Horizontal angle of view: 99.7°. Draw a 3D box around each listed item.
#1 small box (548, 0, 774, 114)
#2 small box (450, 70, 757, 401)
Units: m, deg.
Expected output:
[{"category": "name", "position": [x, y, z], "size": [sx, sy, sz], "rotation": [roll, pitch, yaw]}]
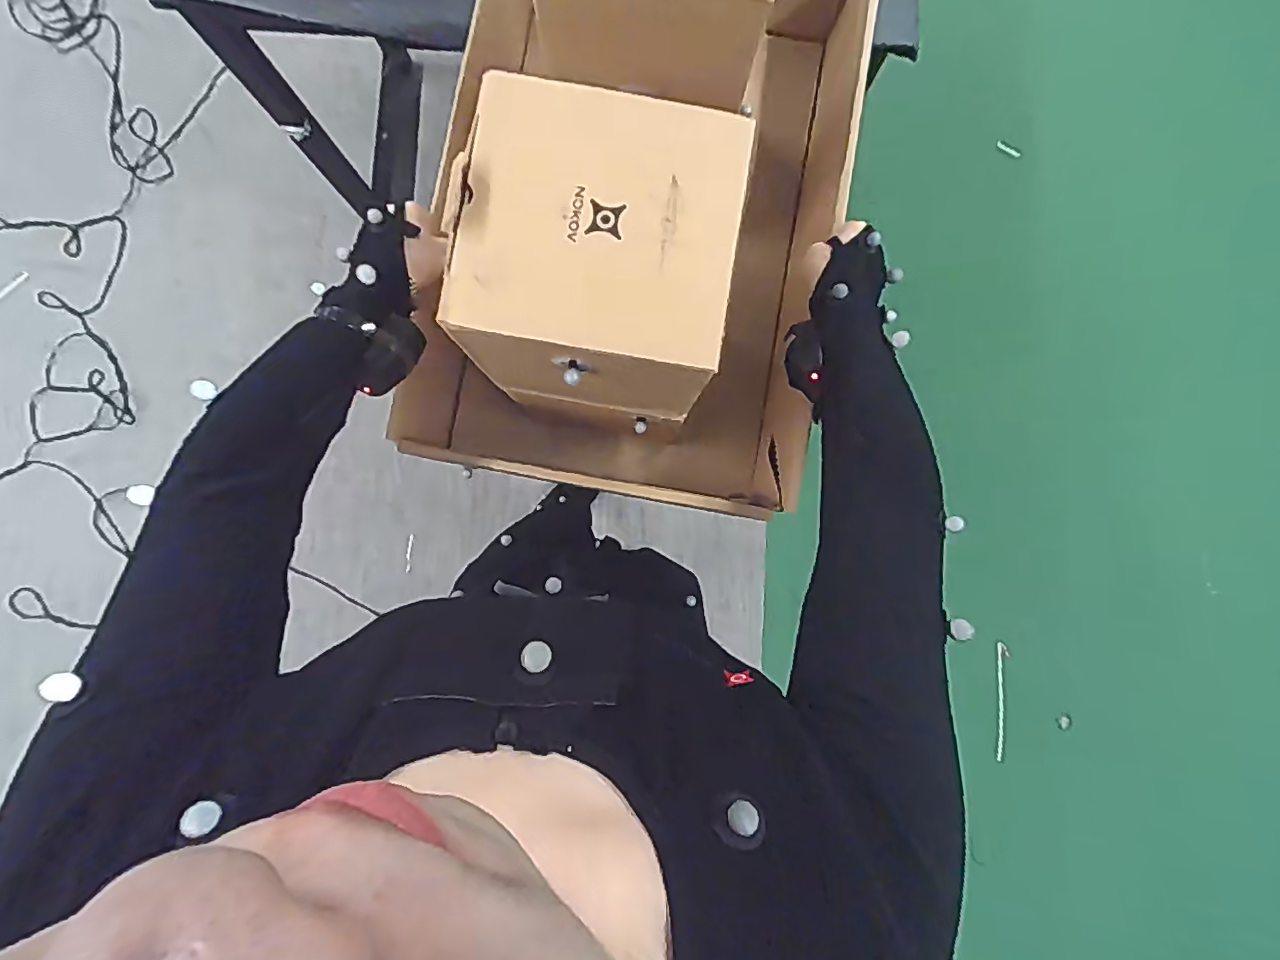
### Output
[{"category": "small box", "position": [0.022, -0.413, 0.432], "size": [0.168, 0.176, 0.179], "rotation": [11, 91, -2]}, {"category": "small box", "position": [-0.025, -0.166, 0.425], "size": [0.179, 0.176, 0.168], "rotation": [9, 88, -3]}]
